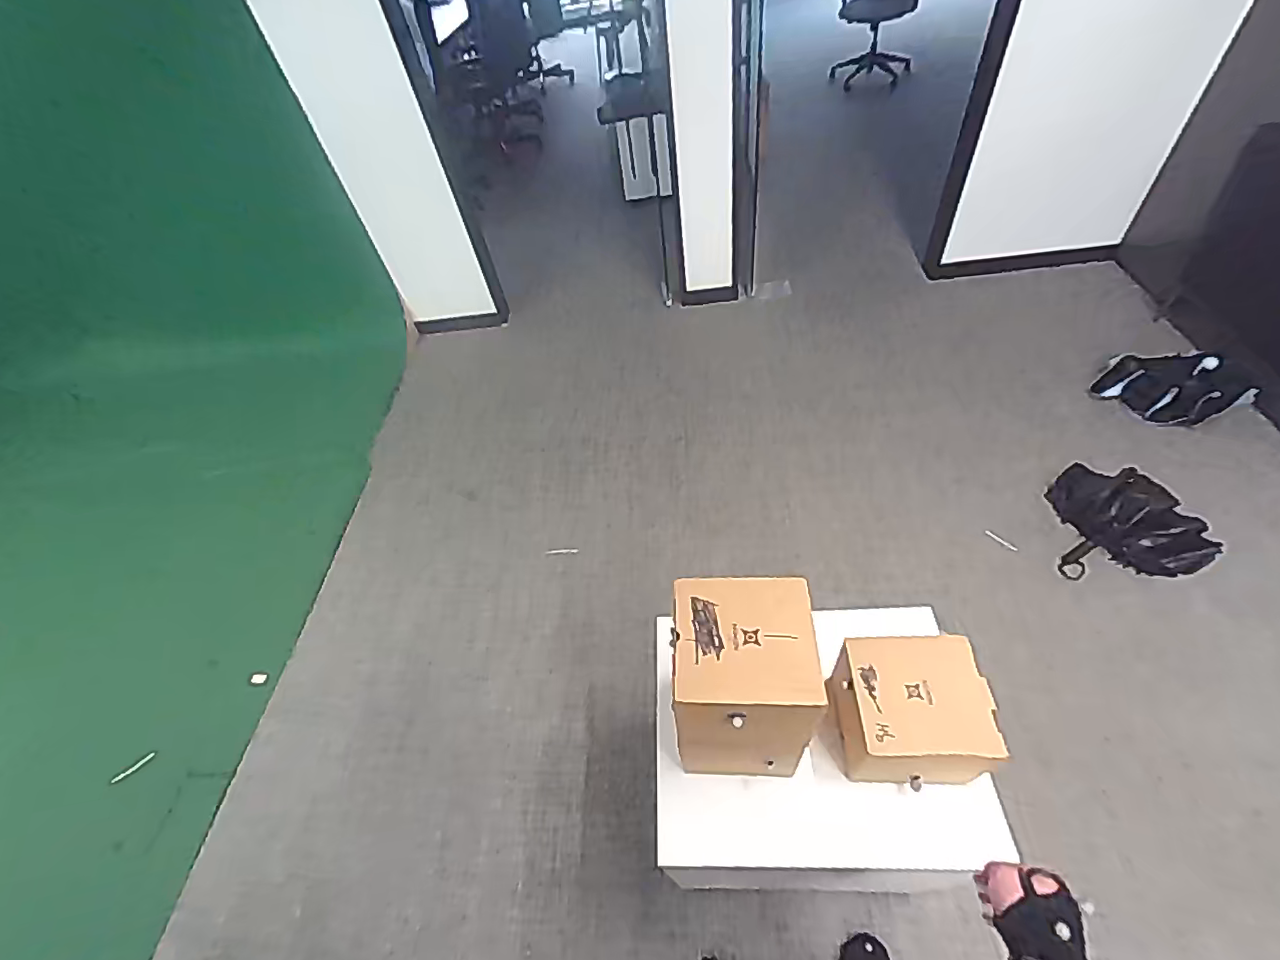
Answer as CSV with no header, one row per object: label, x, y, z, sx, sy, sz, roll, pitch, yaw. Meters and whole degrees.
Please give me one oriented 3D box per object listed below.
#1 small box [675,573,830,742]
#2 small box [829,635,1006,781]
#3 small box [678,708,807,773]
small box,0.138,0.238,0.719,0.179,0.176,0.168,0,50,5
small box,0.398,0.344,0.812,0.179,0.176,0.168,-3,51,7
small box,0.149,0.347,0.843,0.179,0.176,0.168,-2,49,6
